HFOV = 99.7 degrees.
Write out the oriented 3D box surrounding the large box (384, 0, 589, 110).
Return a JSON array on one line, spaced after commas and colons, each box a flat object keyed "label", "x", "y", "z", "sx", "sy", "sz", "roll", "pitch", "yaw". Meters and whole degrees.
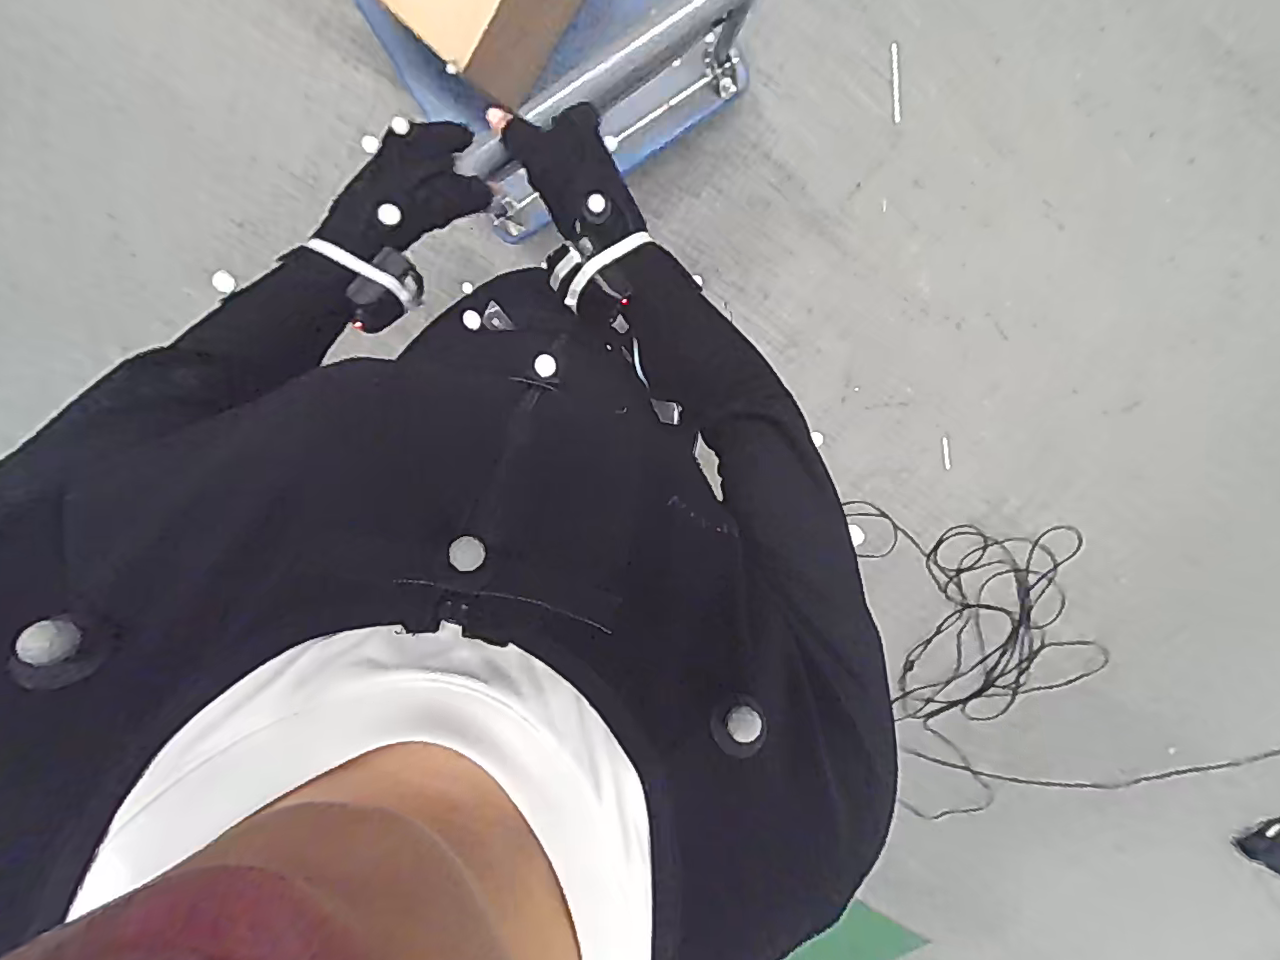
[{"label": "large box", "x": -0.229, "y": -0.878, "z": 0.817, "sx": 0.320, "sy": 0.320, "sz": 0.408, "roll": 37, "pitch": 112, "yaw": -12}]
